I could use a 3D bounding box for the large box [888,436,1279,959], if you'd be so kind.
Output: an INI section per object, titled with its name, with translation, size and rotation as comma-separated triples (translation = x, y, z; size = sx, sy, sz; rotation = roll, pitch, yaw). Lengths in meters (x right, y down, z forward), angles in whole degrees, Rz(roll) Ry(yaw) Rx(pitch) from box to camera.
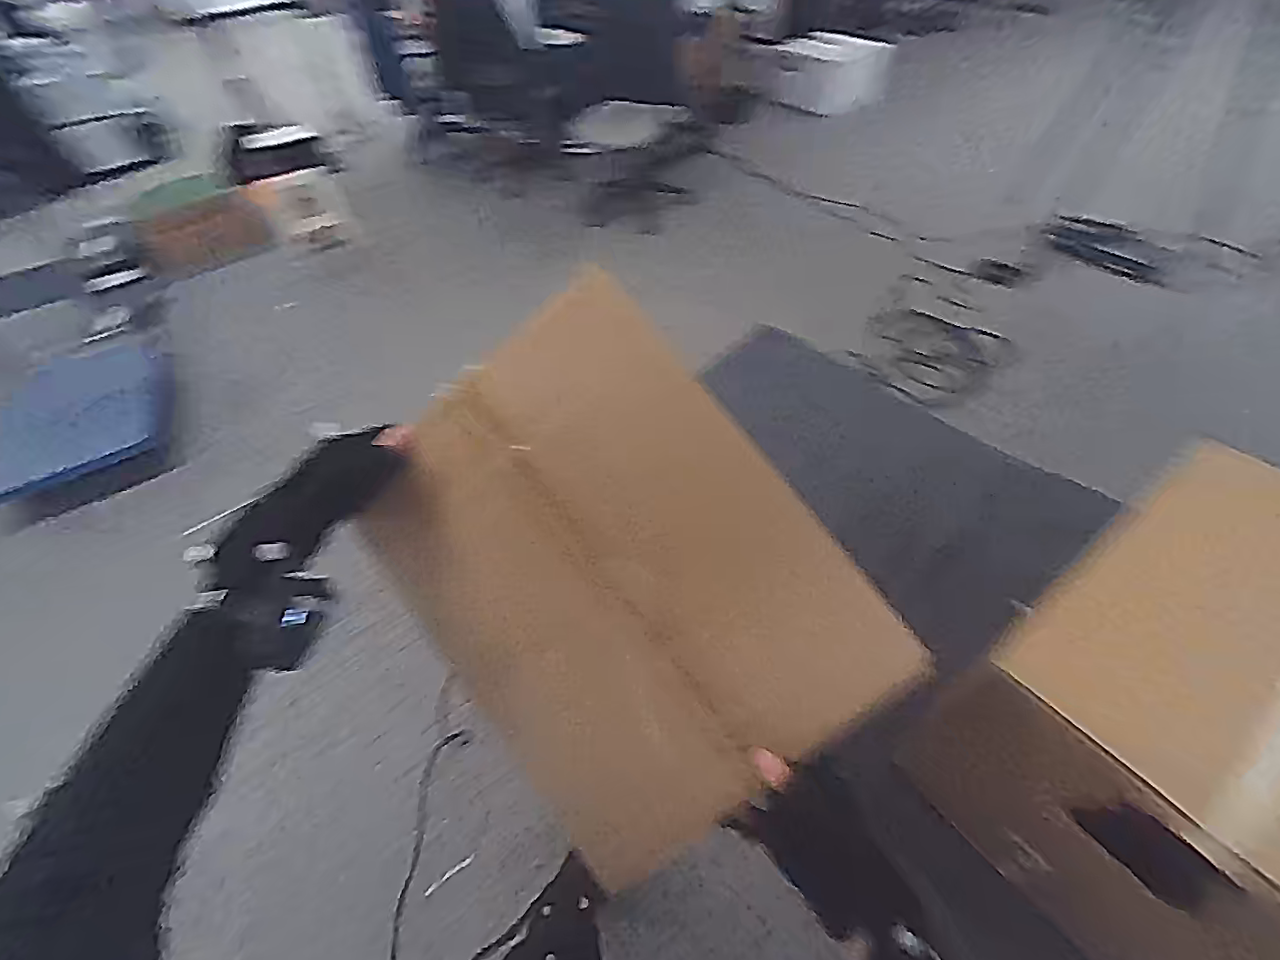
[large box]
translation = 0.538, 0.231, 0.553
size = 0.408, 0.320, 0.320
rotation = -31, 54, -22
